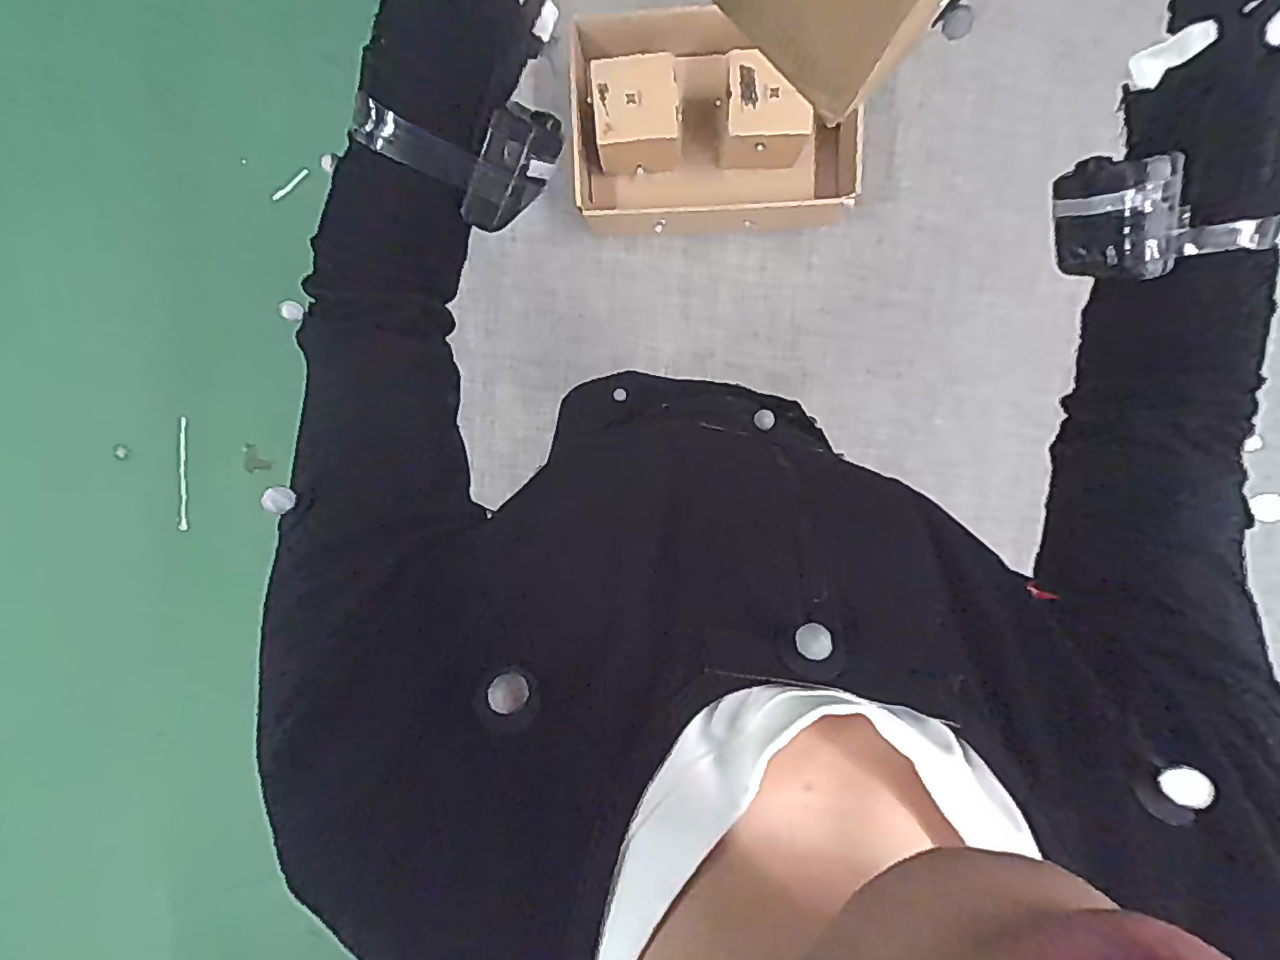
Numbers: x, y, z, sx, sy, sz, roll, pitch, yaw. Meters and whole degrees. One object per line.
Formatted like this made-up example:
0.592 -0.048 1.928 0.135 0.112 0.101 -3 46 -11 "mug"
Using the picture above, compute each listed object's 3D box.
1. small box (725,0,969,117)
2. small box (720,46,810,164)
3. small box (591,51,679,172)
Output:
0.121 -0.332 0.258 0.168 0.176 0.179 -44 95 5 "small box"
0.271 -0.819 1.195 0.179 0.176 0.168 1 99 3 "small box"
-0.010 -0.811 1.206 0.179 0.176 0.168 -4 98 1 "small box"
